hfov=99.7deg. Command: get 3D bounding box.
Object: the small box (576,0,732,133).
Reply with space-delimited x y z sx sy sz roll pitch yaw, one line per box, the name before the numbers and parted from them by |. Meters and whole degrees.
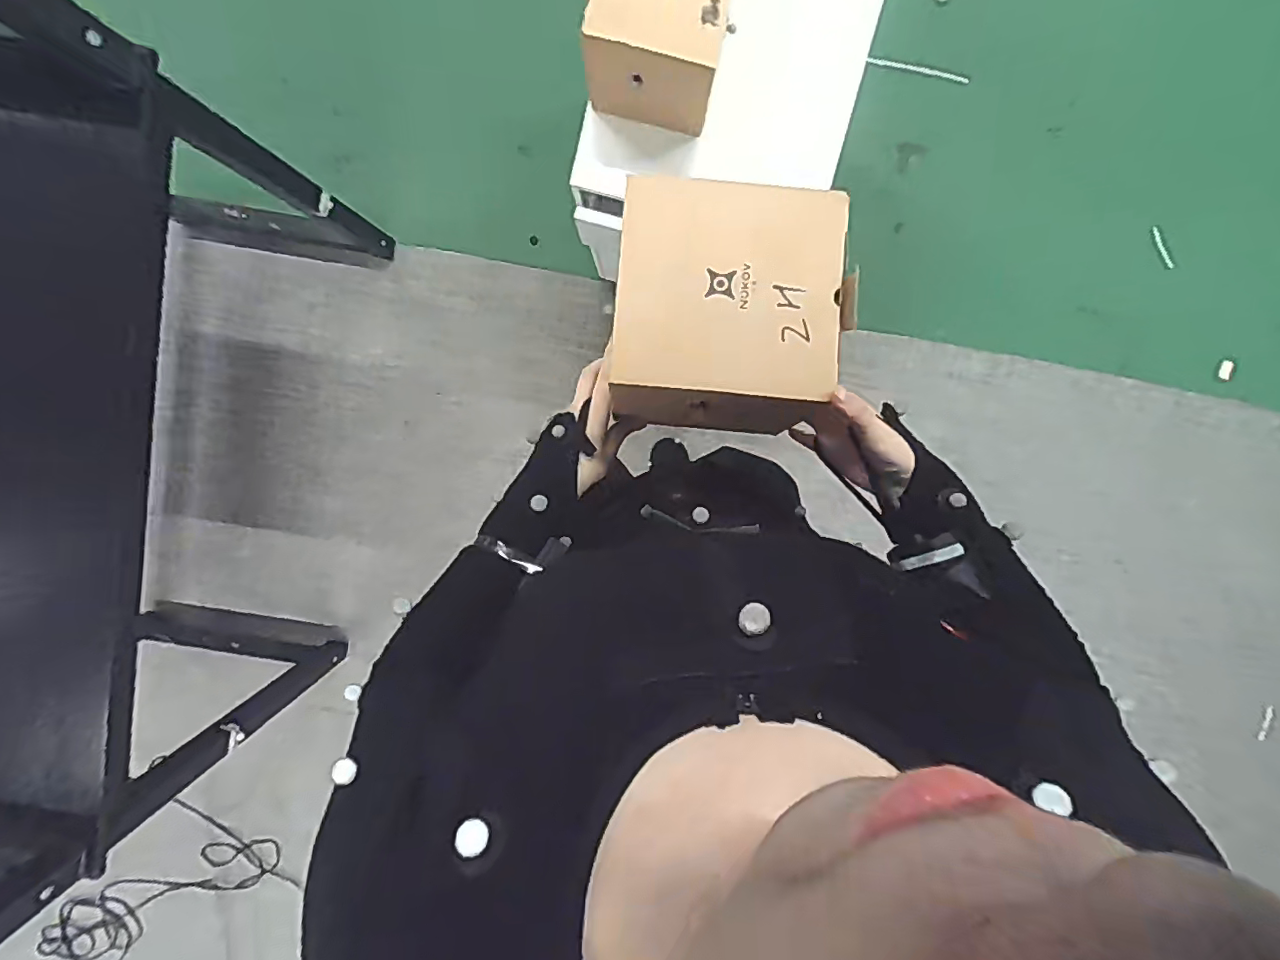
small box | 0.024 -0.609 0.732 0.179 0.176 0.168 13 96 -1
